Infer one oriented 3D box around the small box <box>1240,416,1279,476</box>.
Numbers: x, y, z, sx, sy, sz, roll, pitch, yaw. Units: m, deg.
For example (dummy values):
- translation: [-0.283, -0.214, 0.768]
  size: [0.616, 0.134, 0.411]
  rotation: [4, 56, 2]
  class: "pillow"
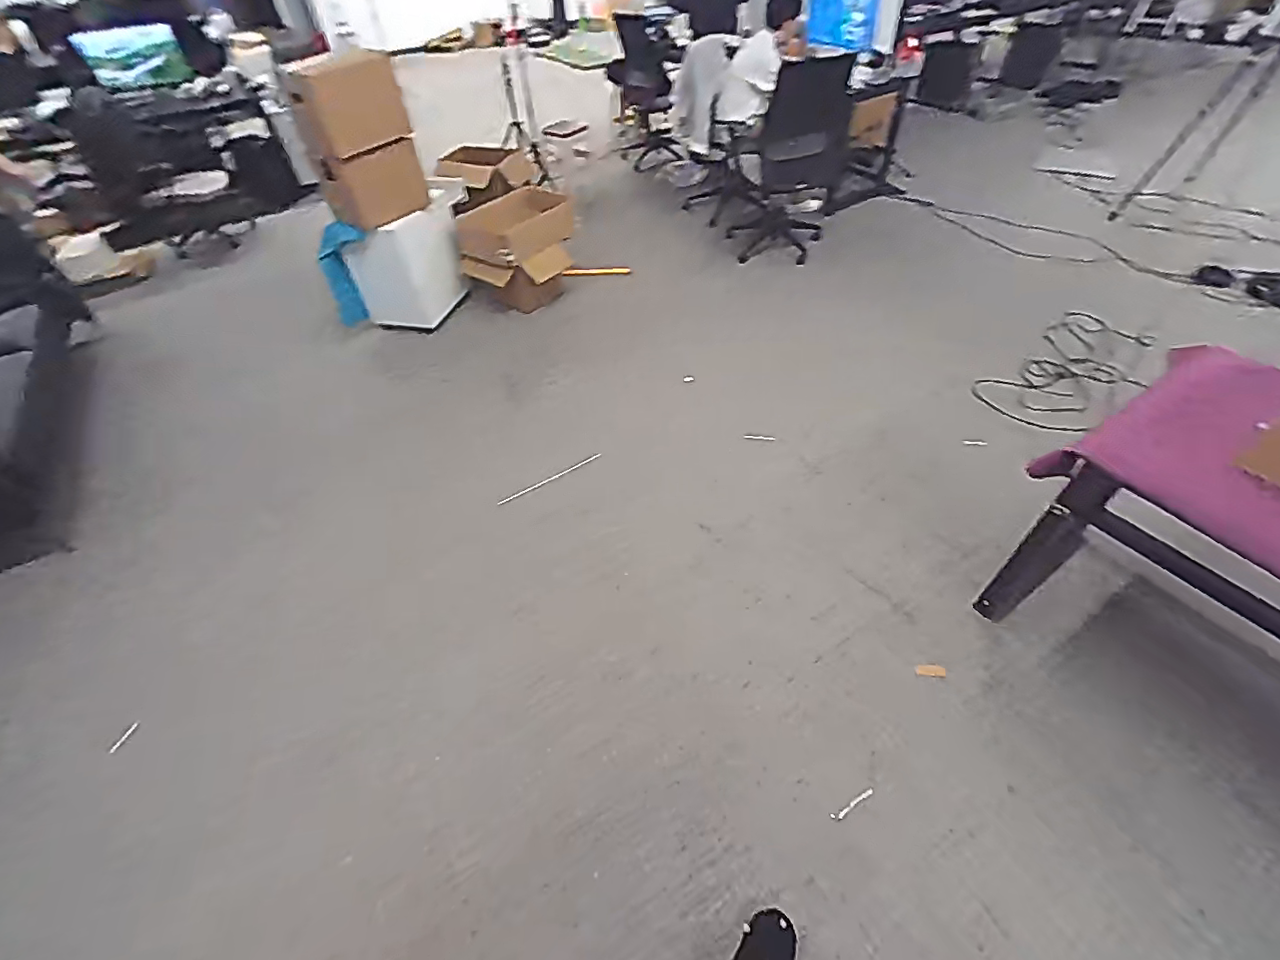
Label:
- translation: [1.378, -0.084, 1.064]
  size: [0.168, 0.176, 0.179]
  rotation: [-27, 51, -18]
  class: "small box"
